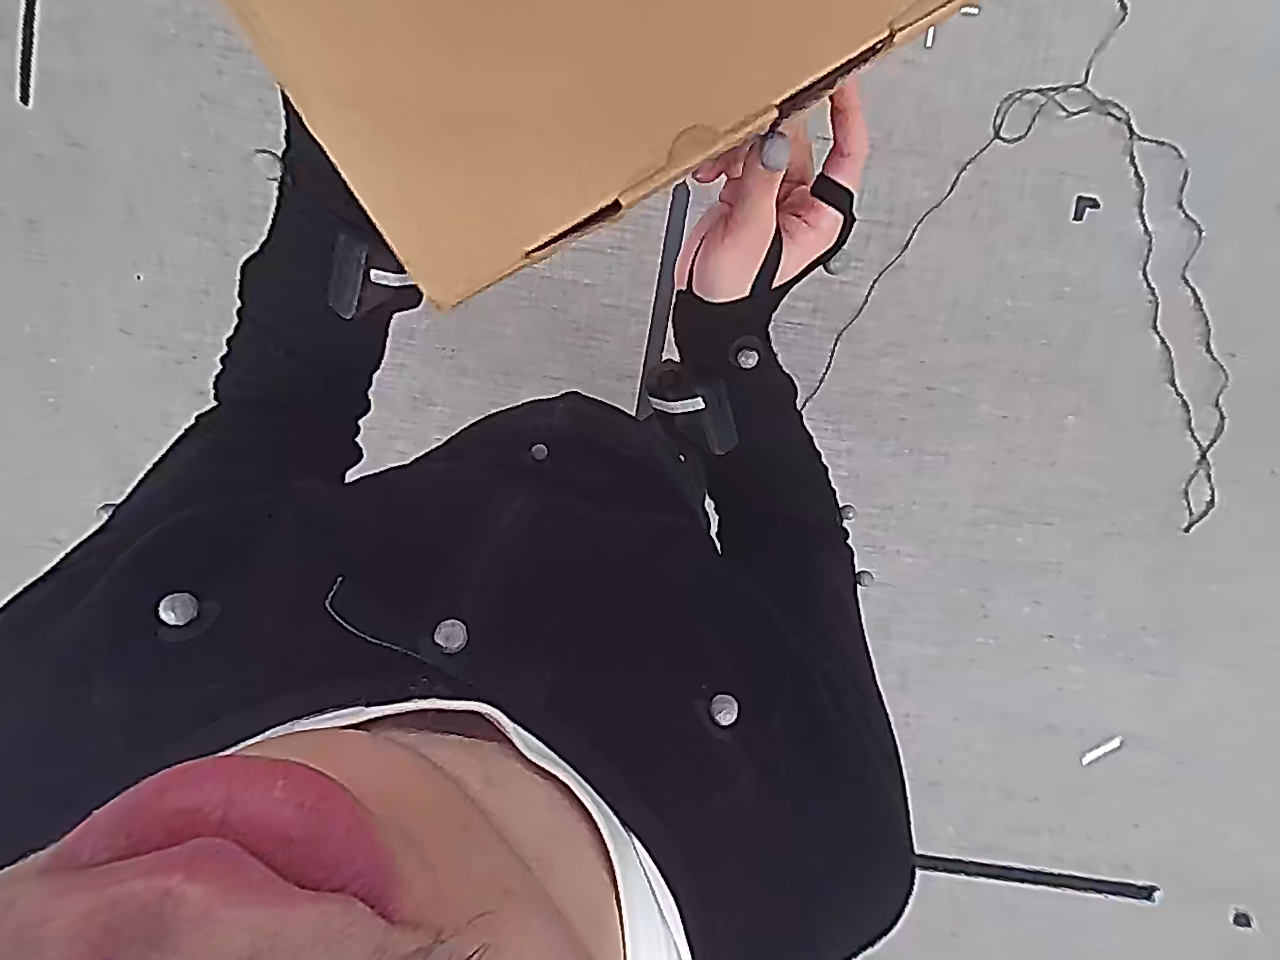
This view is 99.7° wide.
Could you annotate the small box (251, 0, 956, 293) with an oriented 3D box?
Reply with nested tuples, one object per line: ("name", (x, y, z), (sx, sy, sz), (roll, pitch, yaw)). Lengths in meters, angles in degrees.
("small box", (-0.028, -0.193, 0.189), (0.168, 0.176, 0.179), (-26, 113, 11))
